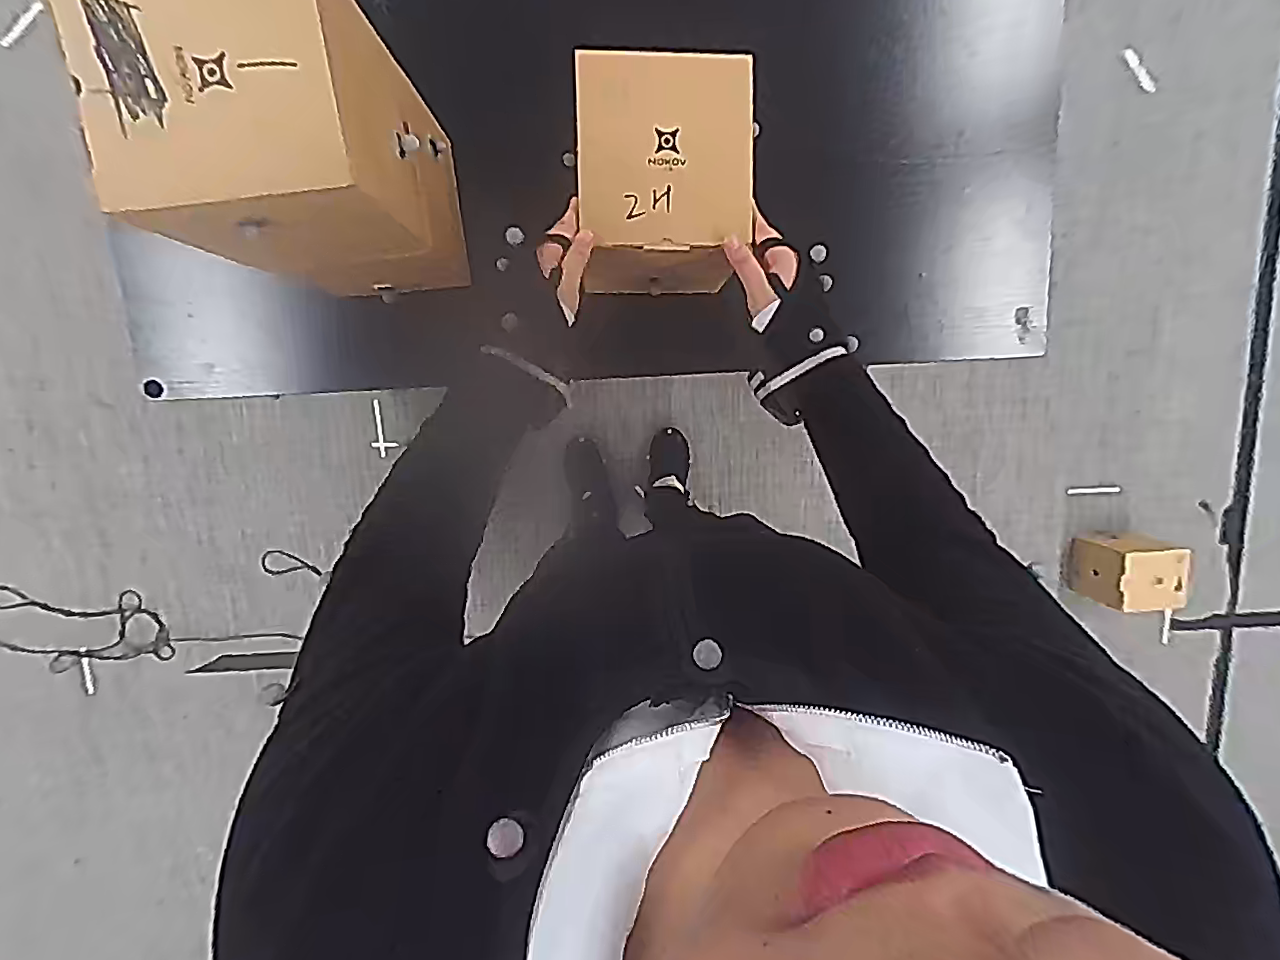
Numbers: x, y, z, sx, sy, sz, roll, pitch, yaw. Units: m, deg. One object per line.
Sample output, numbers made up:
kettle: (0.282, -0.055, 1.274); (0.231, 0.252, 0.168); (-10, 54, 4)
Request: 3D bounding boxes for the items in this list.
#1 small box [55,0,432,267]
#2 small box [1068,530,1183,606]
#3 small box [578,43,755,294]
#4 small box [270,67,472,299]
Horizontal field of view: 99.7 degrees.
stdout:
small box: (-0.297, -0.285, 0.444); (0.179, 0.176, 0.168); (-8, 99, -2)
small box: (1.344, 0.241, 1.510); (0.179, 0.176, 0.168); (-4, 99, -1)
small box: (0.018, -0.310, 0.574); (0.168, 0.176, 0.179); (-1, 95, -4)
small box: (-0.302, -0.314, 0.607); (0.168, 0.176, 0.179); (-7, 100, -1)
